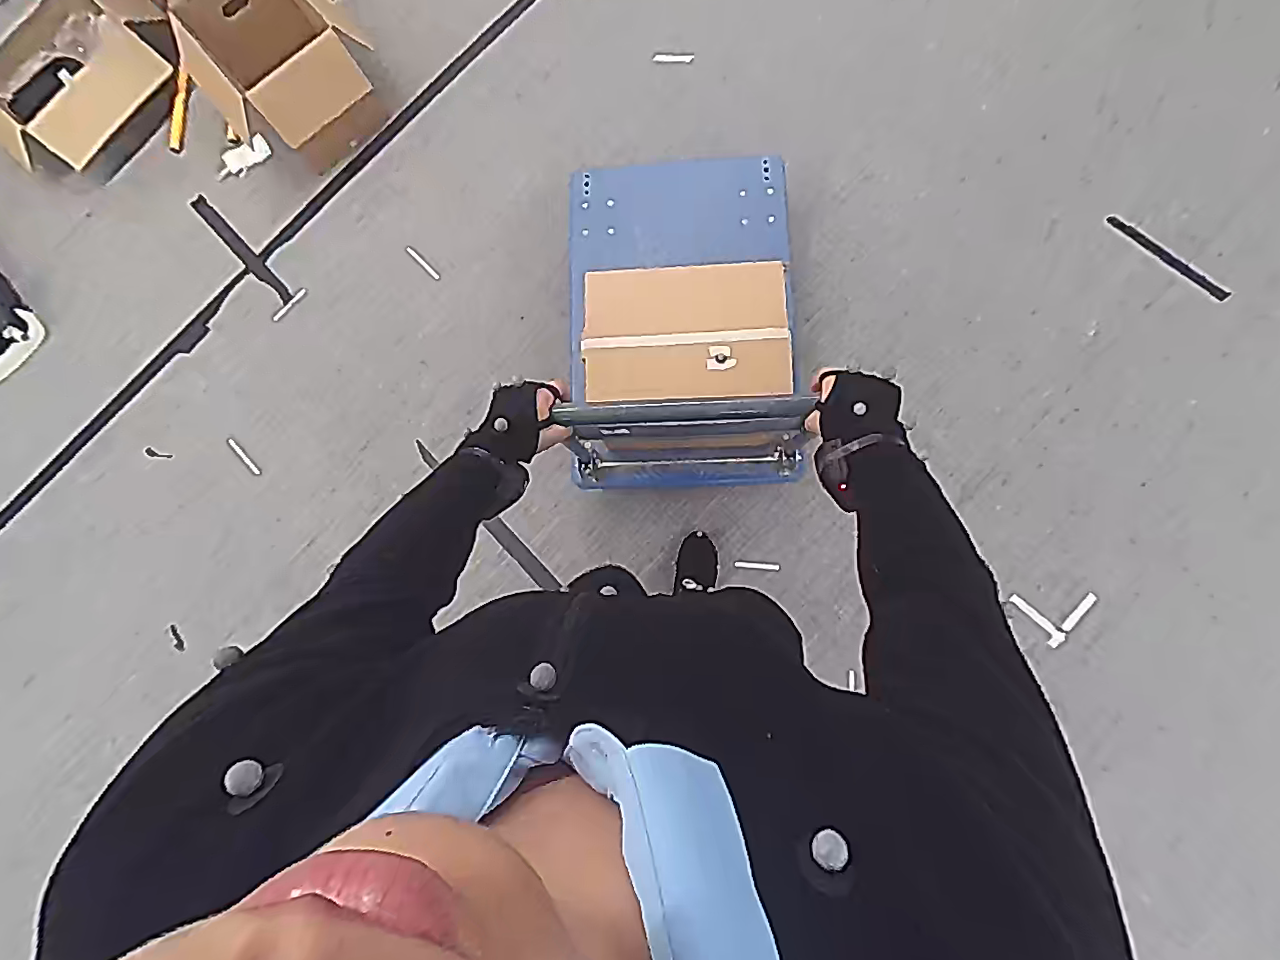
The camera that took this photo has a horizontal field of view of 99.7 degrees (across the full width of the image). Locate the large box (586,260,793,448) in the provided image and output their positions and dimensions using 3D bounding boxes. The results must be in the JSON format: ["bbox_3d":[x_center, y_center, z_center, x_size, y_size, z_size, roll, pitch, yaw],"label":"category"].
[{"bbox_3d":[0.099,-0.261,1.224,0.408,0.320,0.320,-2,82,3],"label":"large box"}]
